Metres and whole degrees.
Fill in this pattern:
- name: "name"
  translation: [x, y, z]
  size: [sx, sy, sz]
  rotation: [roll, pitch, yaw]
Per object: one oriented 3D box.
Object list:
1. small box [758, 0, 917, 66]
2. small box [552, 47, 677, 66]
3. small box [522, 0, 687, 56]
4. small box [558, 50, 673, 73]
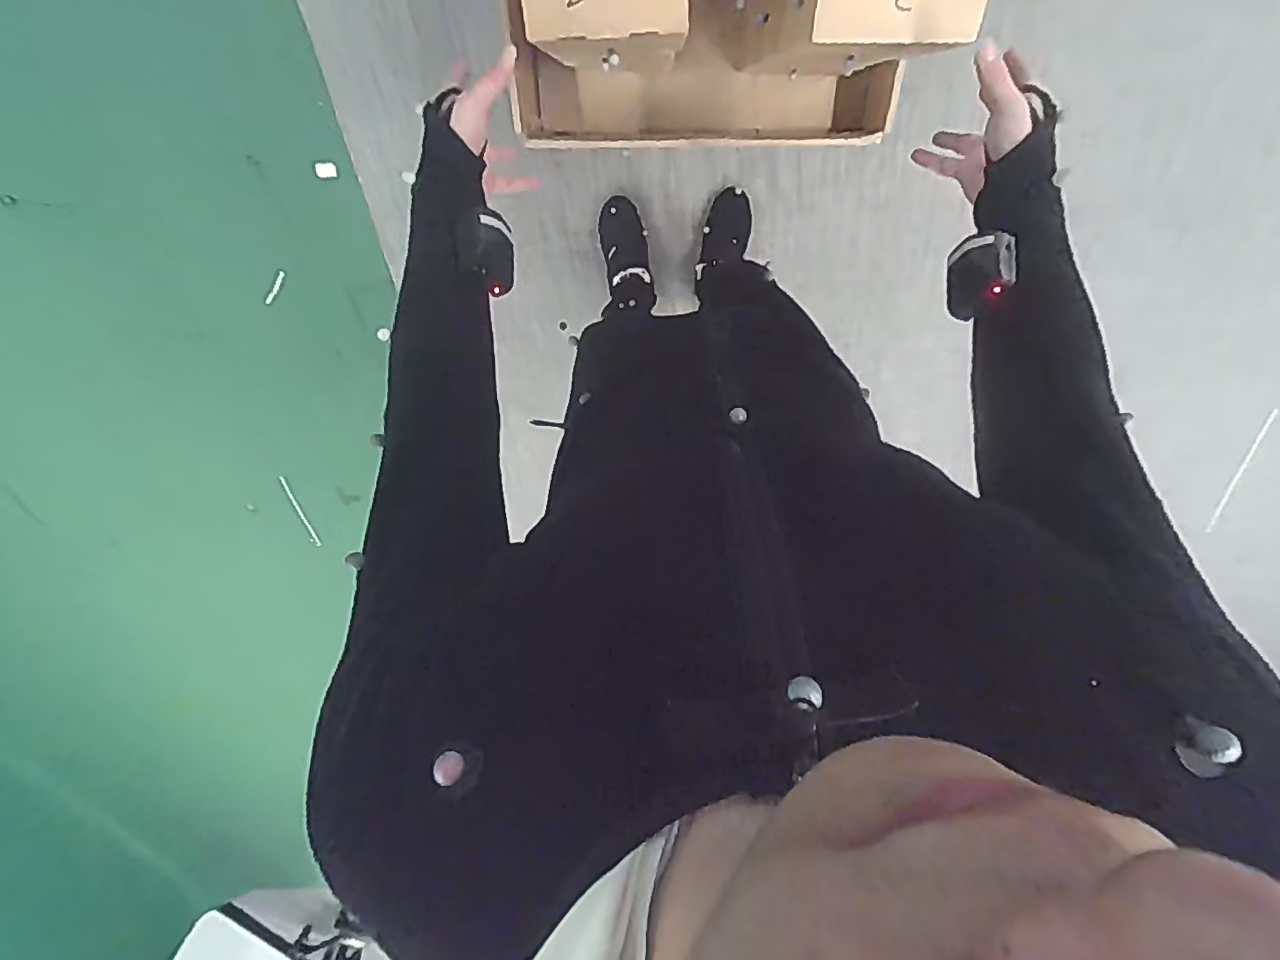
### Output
- name: "small box"
  translation: [0.252, -0.645, 0.691]
  size: [0.168, 0.176, 0.179]
  rotation: [2, 122, 1]
- name: "small box"
  translation: [-0.031, -0.657, 0.701]
  size: [0.168, 0.176, 0.179]
  rotation: [2, 124, 1]
- name: "small box"
  translation: [-0.035, -0.565, 0.564]
  size: [0.168, 0.176, 0.179]
  rotation: [-1, 124, 3]
- name: "small box"
  translation: [-0.029, -0.744, 0.839]
  size: [0.179, 0.176, 0.168]
  rotation: [3, 124, 0]
